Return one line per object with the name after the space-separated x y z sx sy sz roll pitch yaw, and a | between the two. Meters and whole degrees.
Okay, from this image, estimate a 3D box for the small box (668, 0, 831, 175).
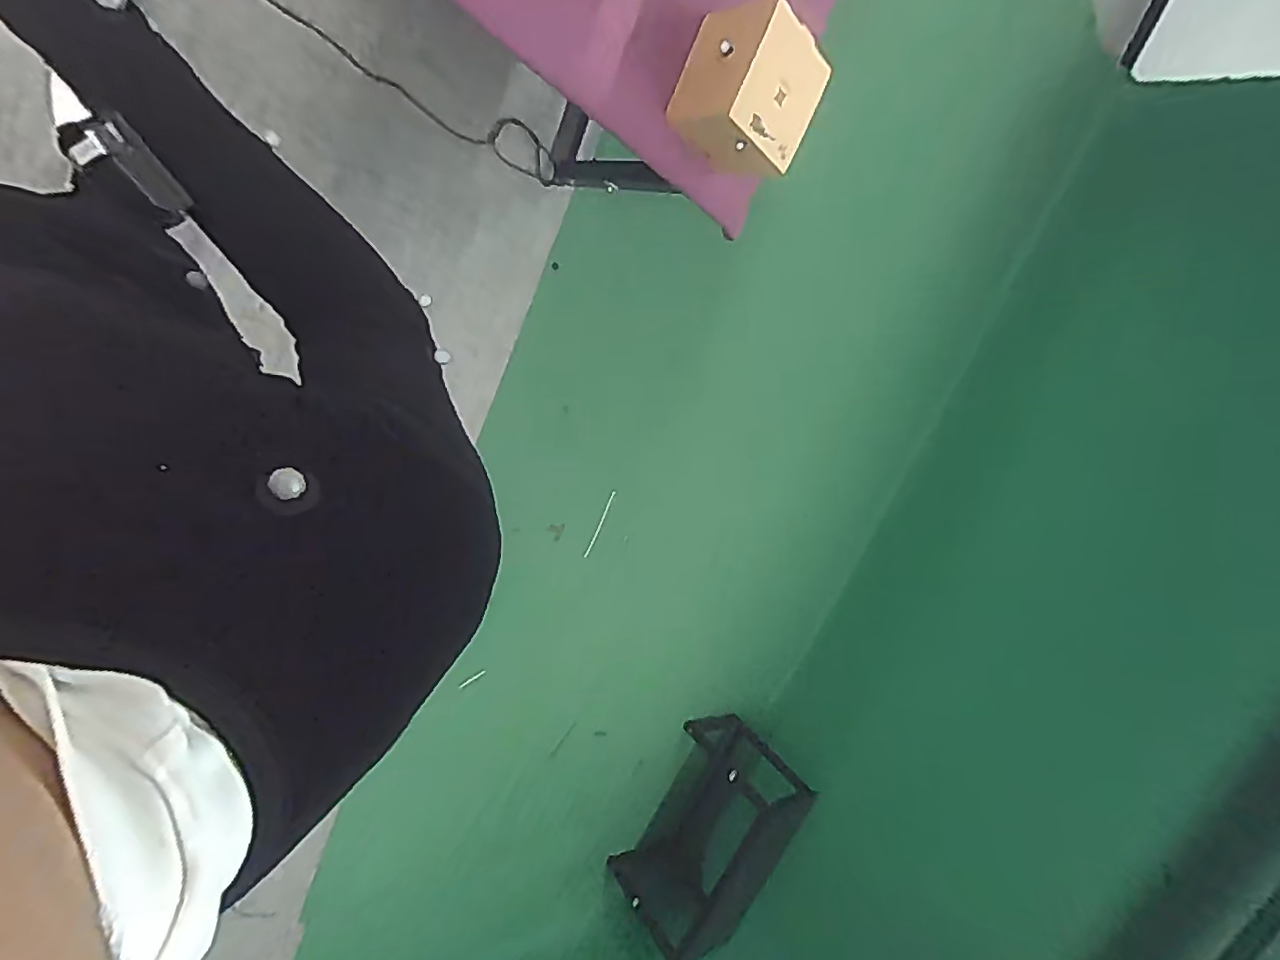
0.176 -0.643 0.903 0.168 0.176 0.179 15 106 -42 | small box
